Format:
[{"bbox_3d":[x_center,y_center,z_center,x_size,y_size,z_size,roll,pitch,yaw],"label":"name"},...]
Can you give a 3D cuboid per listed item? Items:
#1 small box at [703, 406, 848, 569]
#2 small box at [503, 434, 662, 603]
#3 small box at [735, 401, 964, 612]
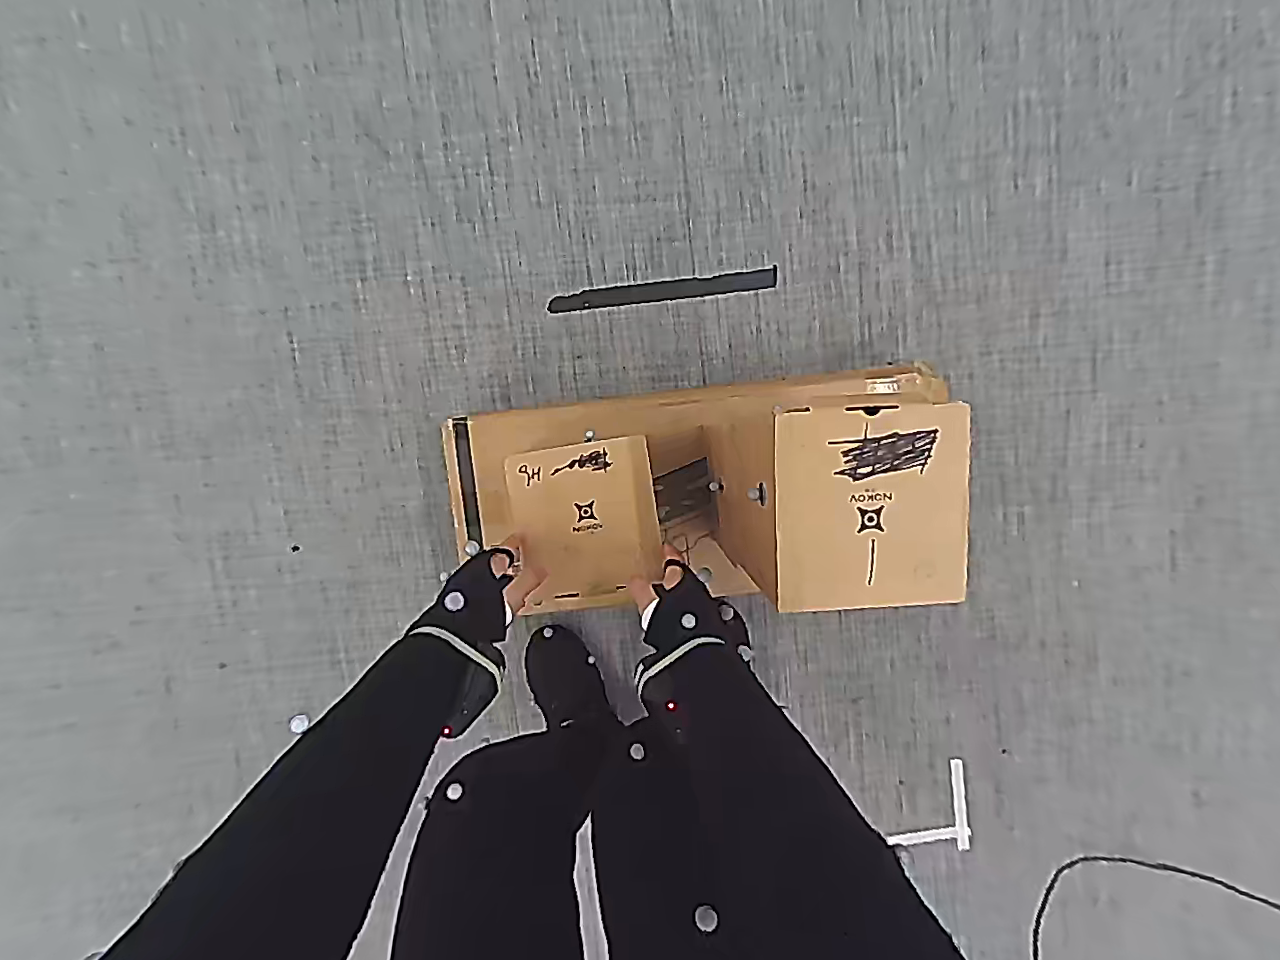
[{"bbox_3d":[0.180,0.004,0.703,0.168,0.176,0.179,-7,96,0],"label":"small box"},{"bbox_3d":[-0.065,0.039,0.701,0.168,0.176,0.179,-9,96,0],"label":"small box"},{"bbox_3d":[0.192,0.017,0.540,0.168,0.176,0.179,-3,96,0],"label":"small box"}]
